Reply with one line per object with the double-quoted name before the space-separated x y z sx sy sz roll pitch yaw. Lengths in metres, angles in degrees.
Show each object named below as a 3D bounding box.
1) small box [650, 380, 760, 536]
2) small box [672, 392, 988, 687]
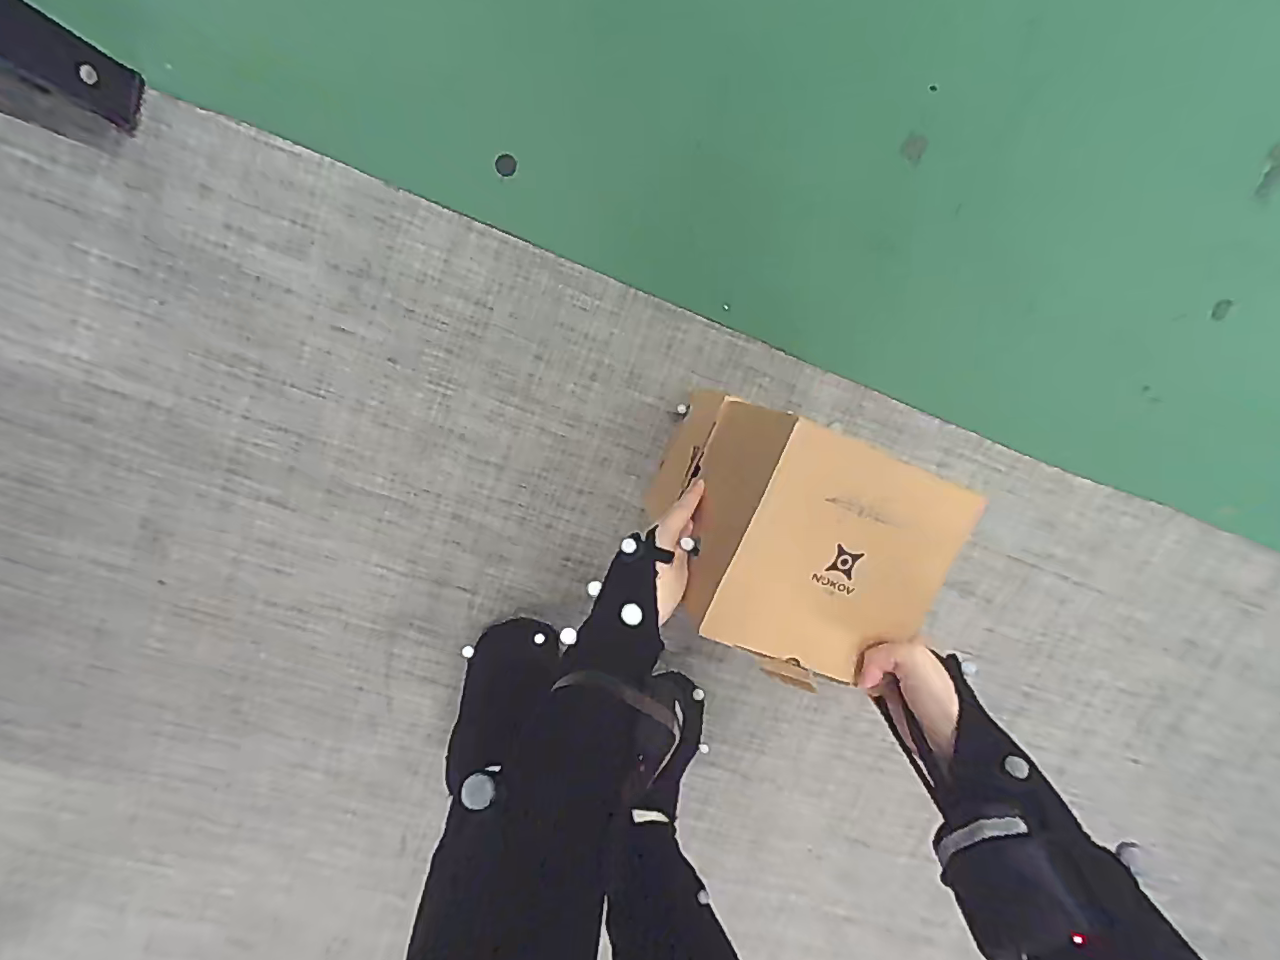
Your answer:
"small box" 0.124 -0.006 0.619 0.179 0.176 0.168 22 100 -11
"small box" 0.136 0.037 0.464 0.168 0.176 0.179 20 100 -11
